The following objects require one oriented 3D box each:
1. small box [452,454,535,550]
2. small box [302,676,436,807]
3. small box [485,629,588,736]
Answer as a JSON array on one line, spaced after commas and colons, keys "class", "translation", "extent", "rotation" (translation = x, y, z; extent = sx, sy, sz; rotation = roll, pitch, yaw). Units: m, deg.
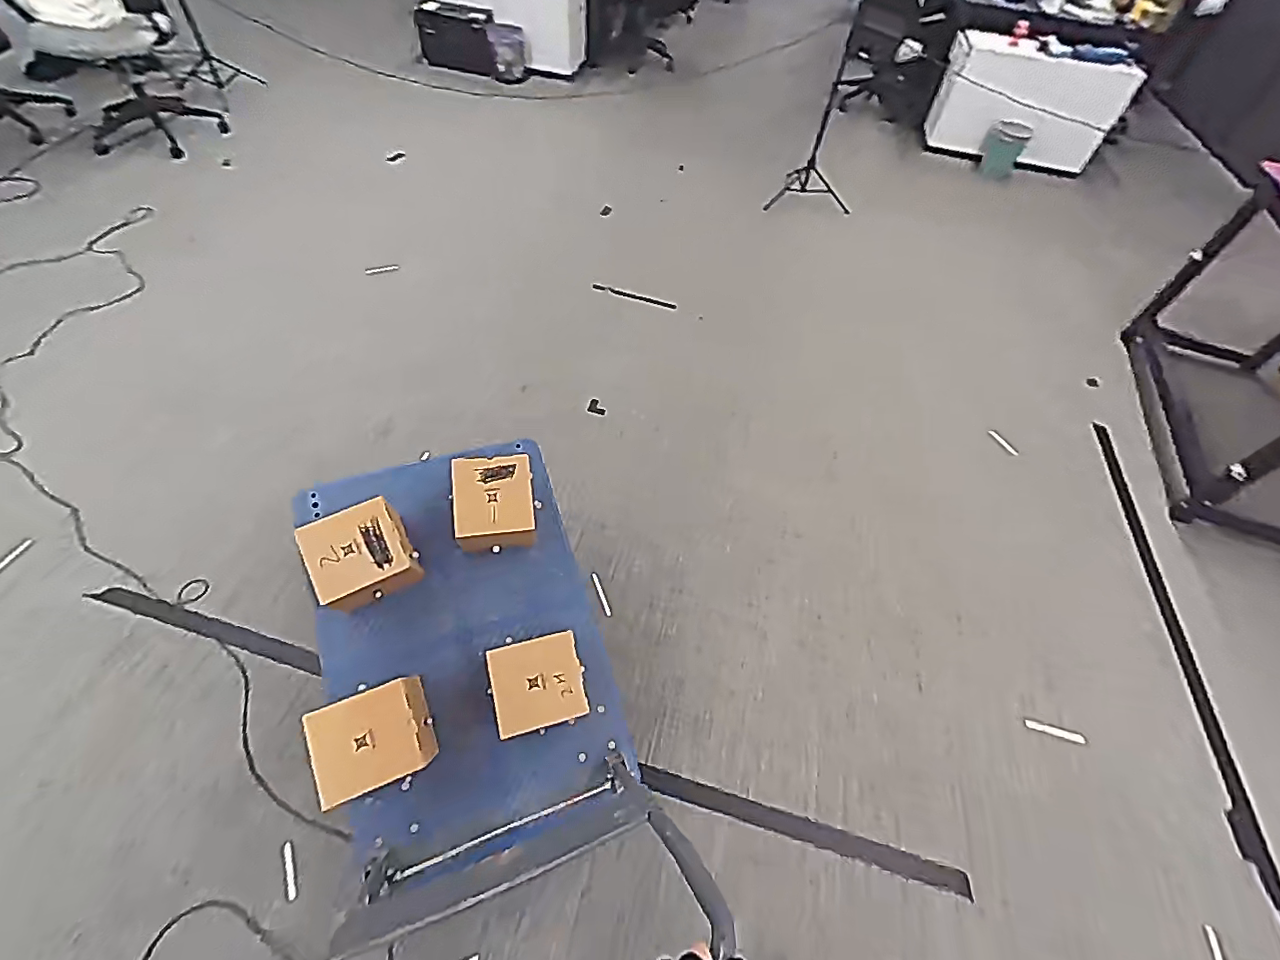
[{"class": "small box", "translation": [-0.331, 0.053, 1.230], "extent": [0.168, 0.176, 0.179], "rotation": [-5, 74, -13]}, {"class": "small box", "translation": [-0.512, 0.492, 1.041], "extent": [0.179, 0.176, 0.168], "rotation": [-18, 76, -19]}, {"class": "small box", "translation": [-0.216, 0.417, 1.128], "extent": [0.179, 0.176, 0.168], "rotation": [-11, 74, -15]}]
